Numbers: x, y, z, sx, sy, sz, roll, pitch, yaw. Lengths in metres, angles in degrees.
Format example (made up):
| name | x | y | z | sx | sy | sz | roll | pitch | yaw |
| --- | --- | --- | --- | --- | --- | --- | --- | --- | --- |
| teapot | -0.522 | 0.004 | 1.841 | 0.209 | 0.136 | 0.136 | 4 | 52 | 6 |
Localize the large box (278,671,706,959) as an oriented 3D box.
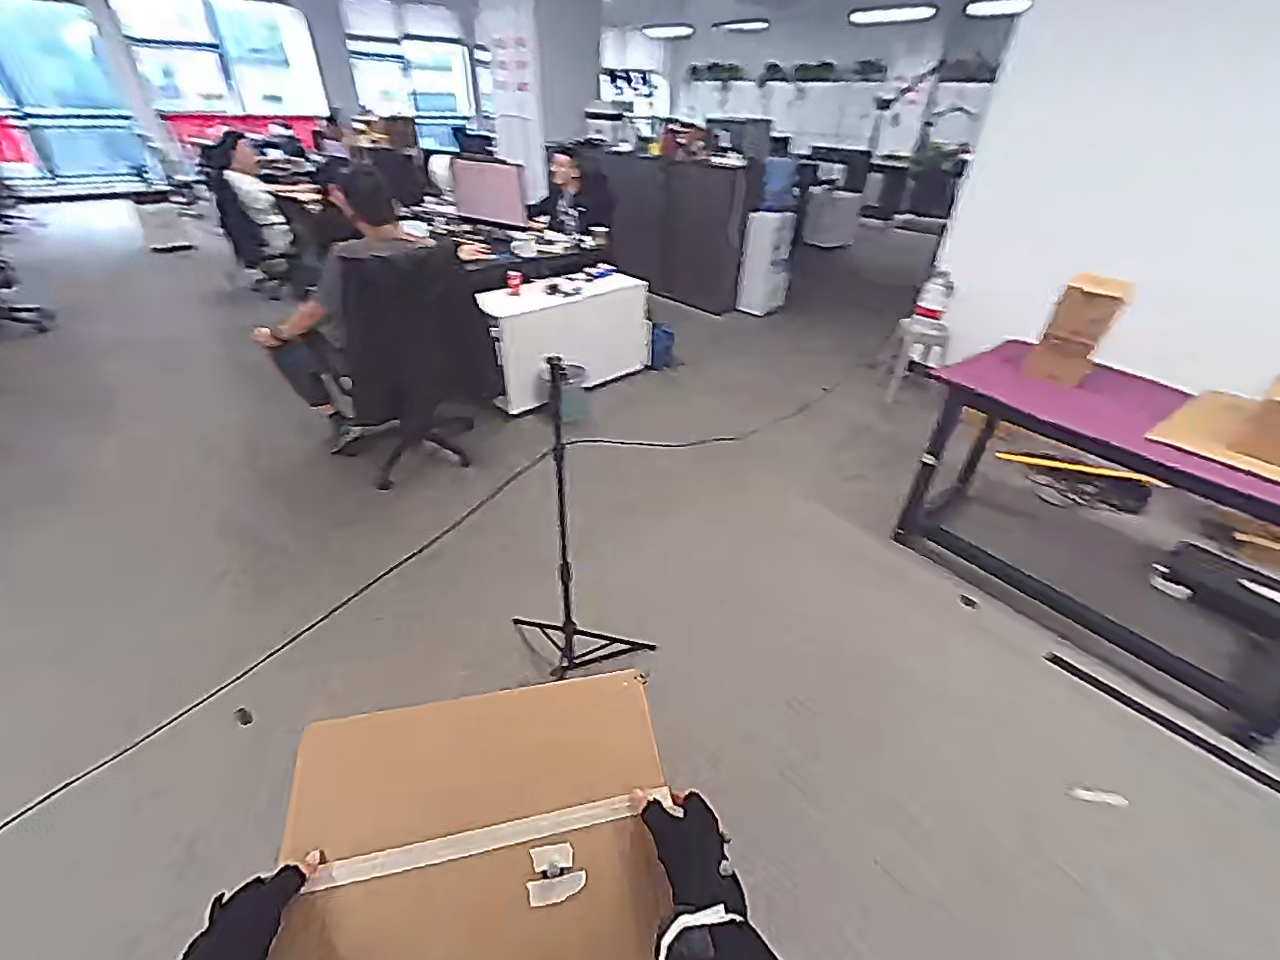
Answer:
| name | x | y | z | sx | sy | sz | roll | pitch | yaw |
| --- | --- | --- | --- | --- | --- | --- | --- | --- | --- |
| large box | -0.172 | 0.486 | 0.691 | 0.408 | 0.320 | 0.320 | -4 | 47 | -12 |
